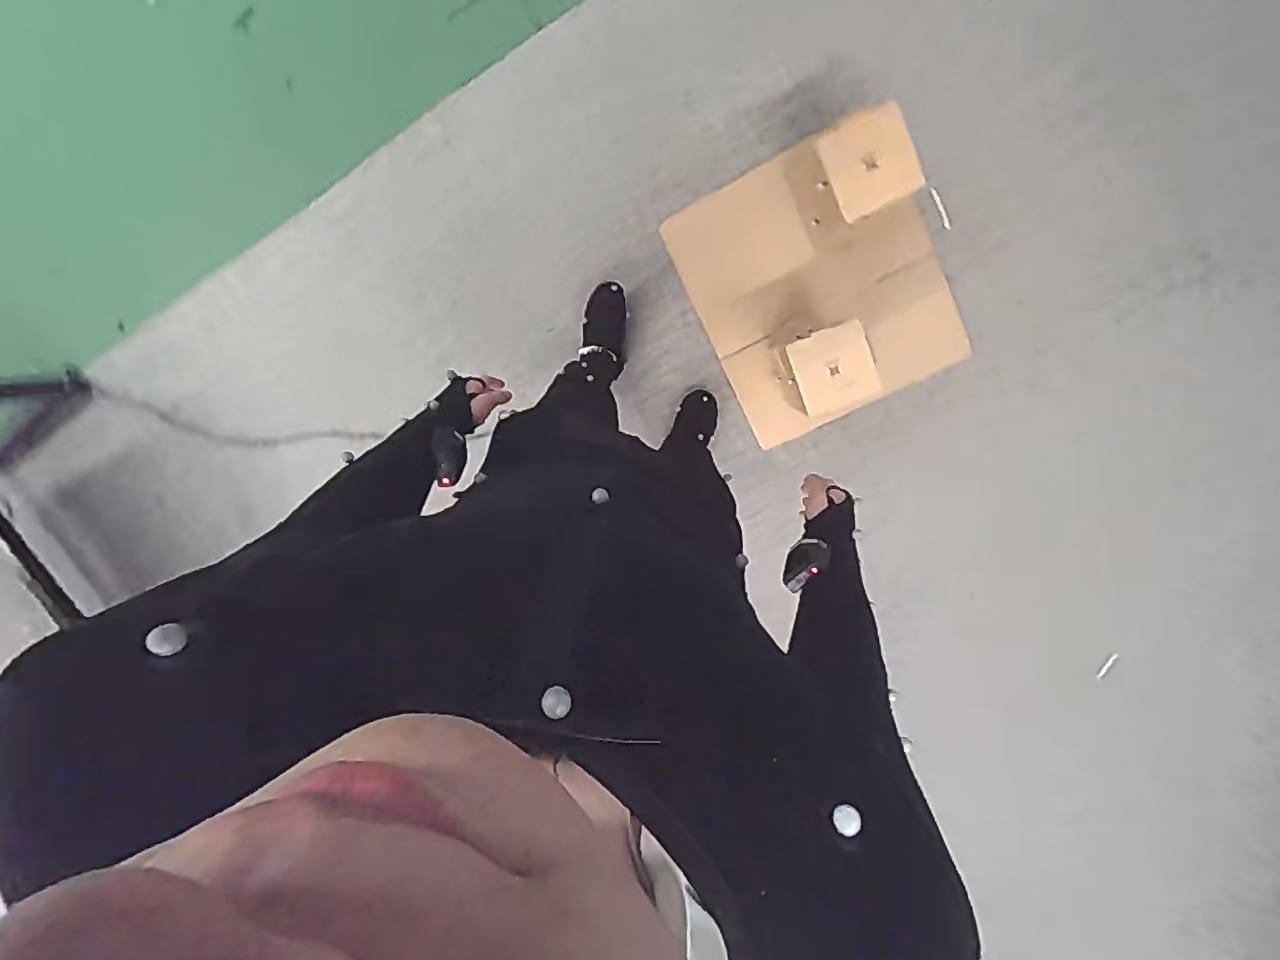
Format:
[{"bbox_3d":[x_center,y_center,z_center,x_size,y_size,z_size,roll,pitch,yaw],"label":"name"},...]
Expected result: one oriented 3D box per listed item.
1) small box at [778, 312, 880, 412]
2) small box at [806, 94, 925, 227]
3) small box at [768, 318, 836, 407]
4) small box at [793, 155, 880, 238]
[{"bbox_3d":[0.430,-0.273,1.259,0.168,0.176,0.179,-19,101,12],"label":"small box"},{"bbox_3d":[0.471,-0.662,1.152,0.168,0.176,0.179,-23,100,13],"label":"small box"},{"bbox_3d":[0.447,-0.311,1.418,0.168,0.176,0.179,-22,101,11],"label":"small box"},{"bbox_3d":[0.487,-0.708,1.306,0.168,0.176,0.179,-23,100,12],"label":"small box"}]
